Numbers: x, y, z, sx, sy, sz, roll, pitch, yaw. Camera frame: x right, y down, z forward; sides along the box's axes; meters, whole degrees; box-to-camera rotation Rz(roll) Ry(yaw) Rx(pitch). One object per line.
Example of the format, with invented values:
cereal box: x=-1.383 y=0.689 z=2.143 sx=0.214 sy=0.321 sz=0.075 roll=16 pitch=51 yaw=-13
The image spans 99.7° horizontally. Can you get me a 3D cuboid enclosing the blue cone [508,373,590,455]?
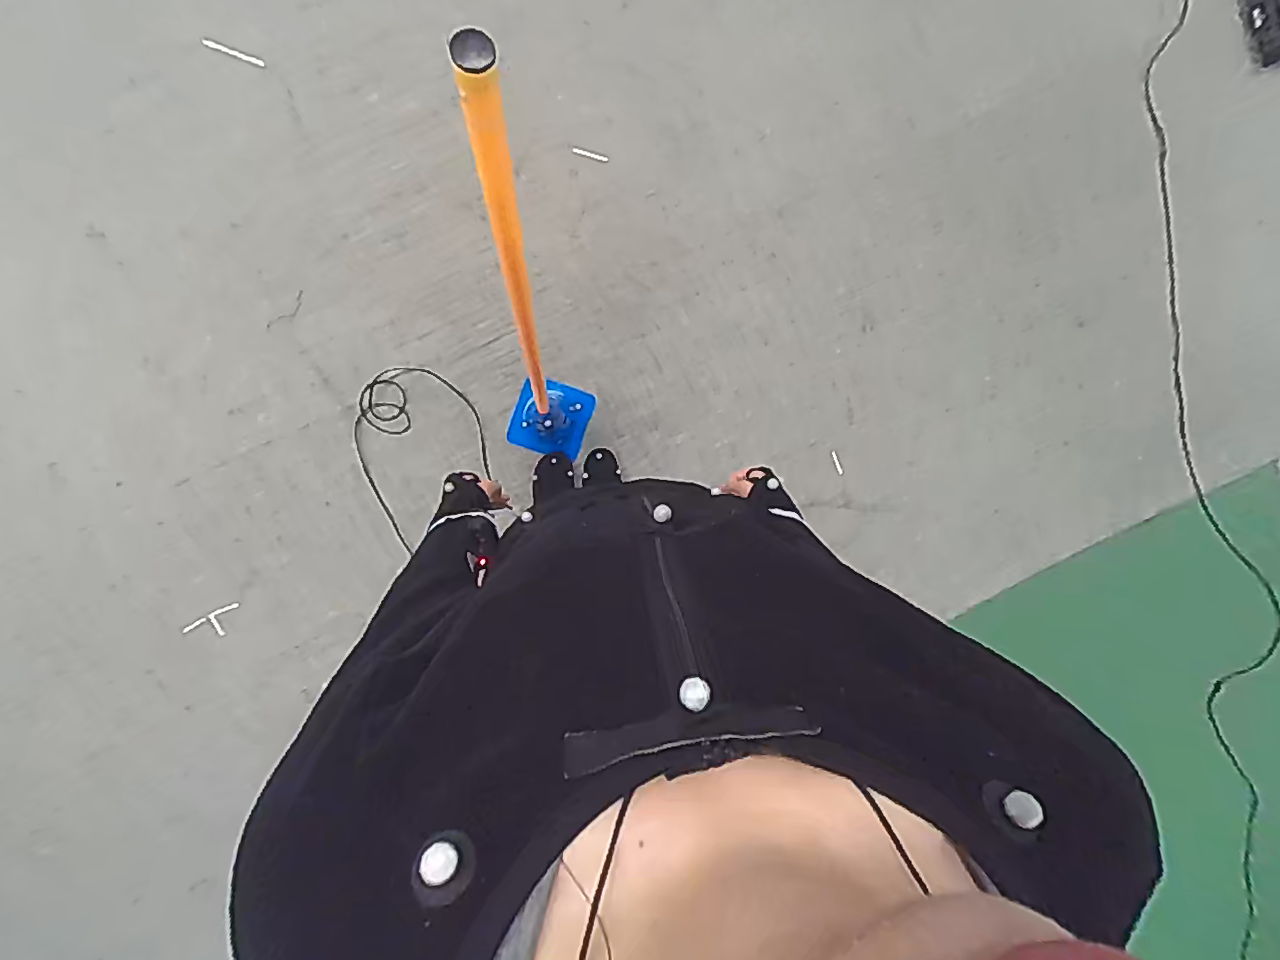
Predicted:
blue cone: x=-0.222 y=-0.169 z=1.280 sx=0.192 sy=0.380 sz=0.193 roll=19 pitch=90 yaw=-8
